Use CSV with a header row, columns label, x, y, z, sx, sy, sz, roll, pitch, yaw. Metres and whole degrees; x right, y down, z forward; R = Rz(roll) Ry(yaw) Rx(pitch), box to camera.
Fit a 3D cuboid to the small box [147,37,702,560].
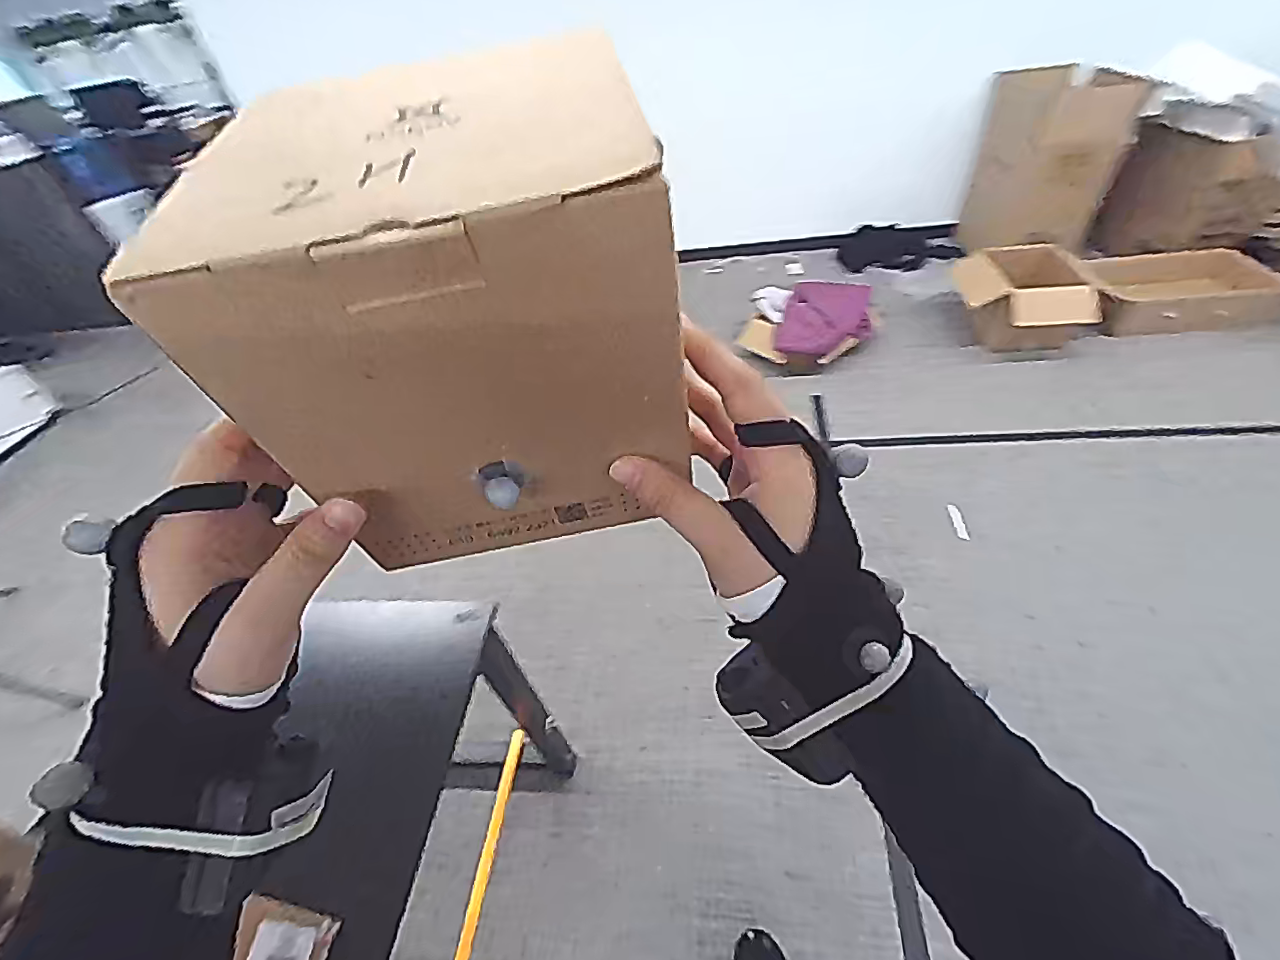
label,x,y,z,sx,sy,sz,roll,pitch,yaw
small box,-0.067,-0.085,0.272,0.168,0.176,0.179,-11,51,1
